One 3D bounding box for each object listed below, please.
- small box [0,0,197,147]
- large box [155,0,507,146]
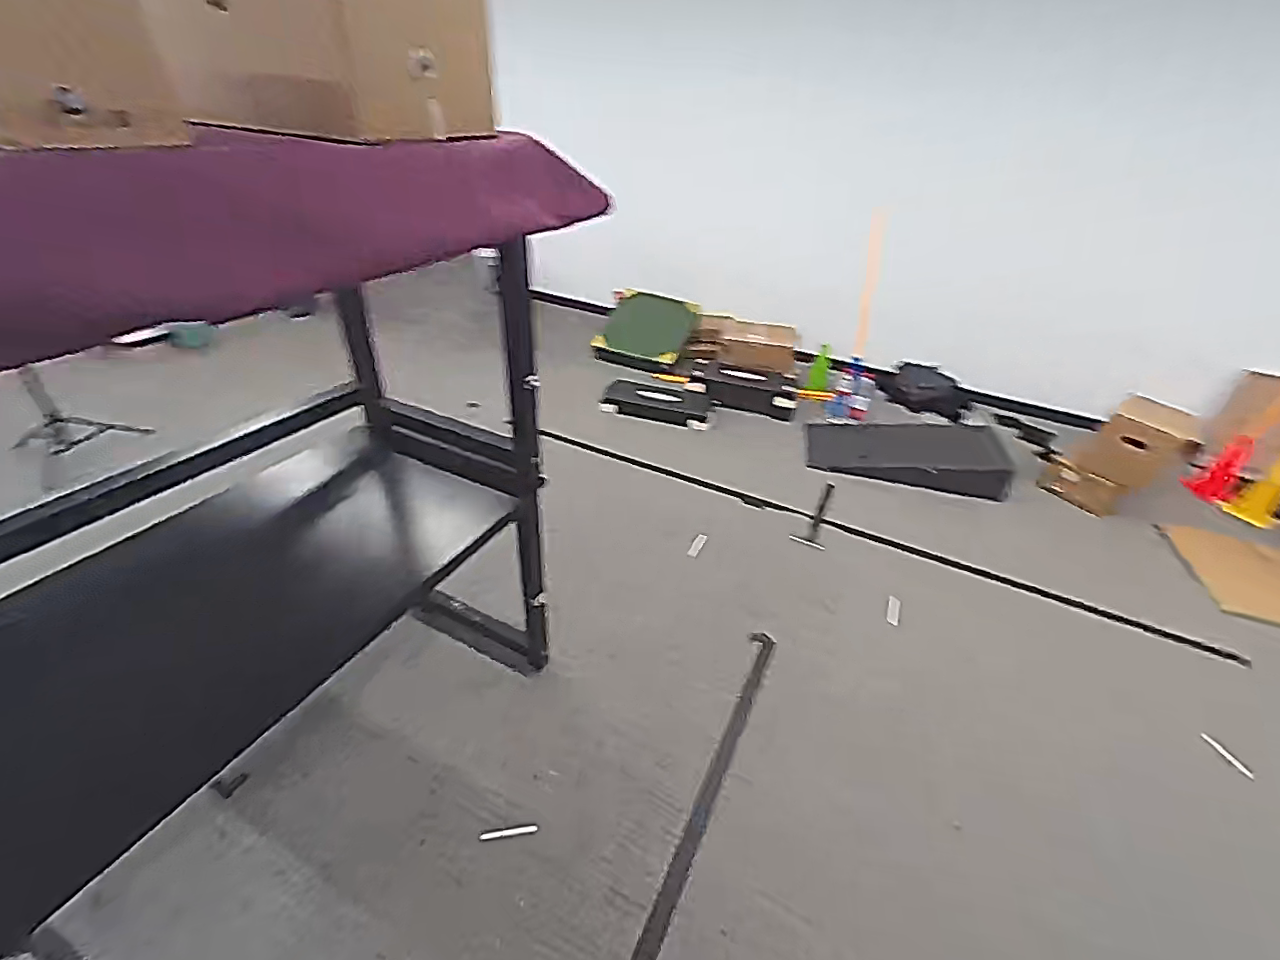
[{"bbox_3d":[-0.592,-0.426,0.520,0.179,0.176,0.168,17,38,17],"label":"small box"},{"bbox_3d":[-0.463,-0.695,0.801,0.408,0.320,0.320,16,37,18],"label":"large box"}]
